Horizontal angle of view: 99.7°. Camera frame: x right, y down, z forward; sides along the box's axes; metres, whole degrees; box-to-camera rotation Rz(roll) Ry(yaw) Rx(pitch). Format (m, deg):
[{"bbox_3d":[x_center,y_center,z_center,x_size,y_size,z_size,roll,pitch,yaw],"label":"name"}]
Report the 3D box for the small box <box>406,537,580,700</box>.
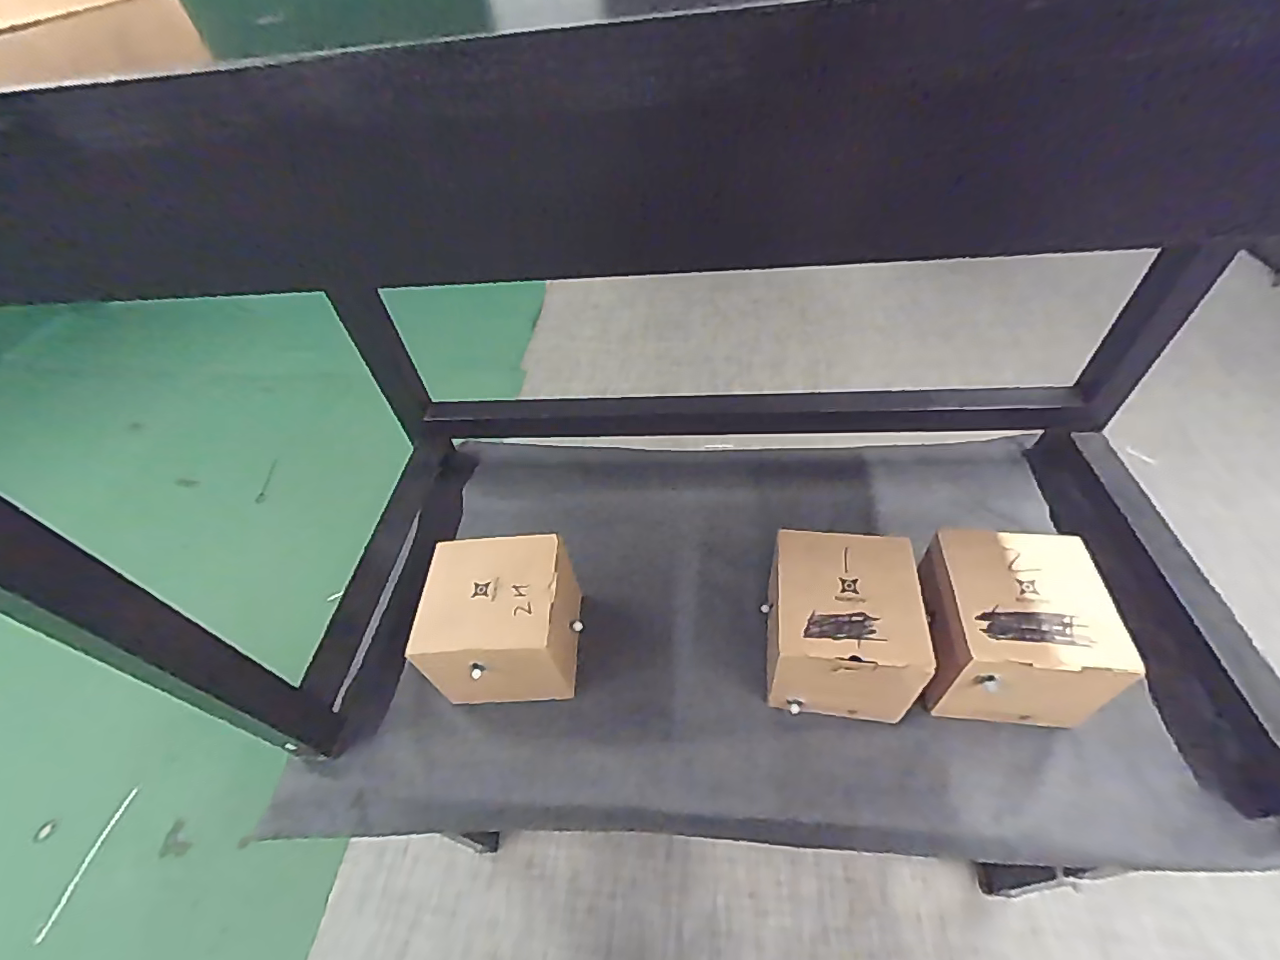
[{"bbox_3d":[-0.190,0.197,0.756,0.179,0.176,0.168,-3,49,4],"label":"small box"}]
